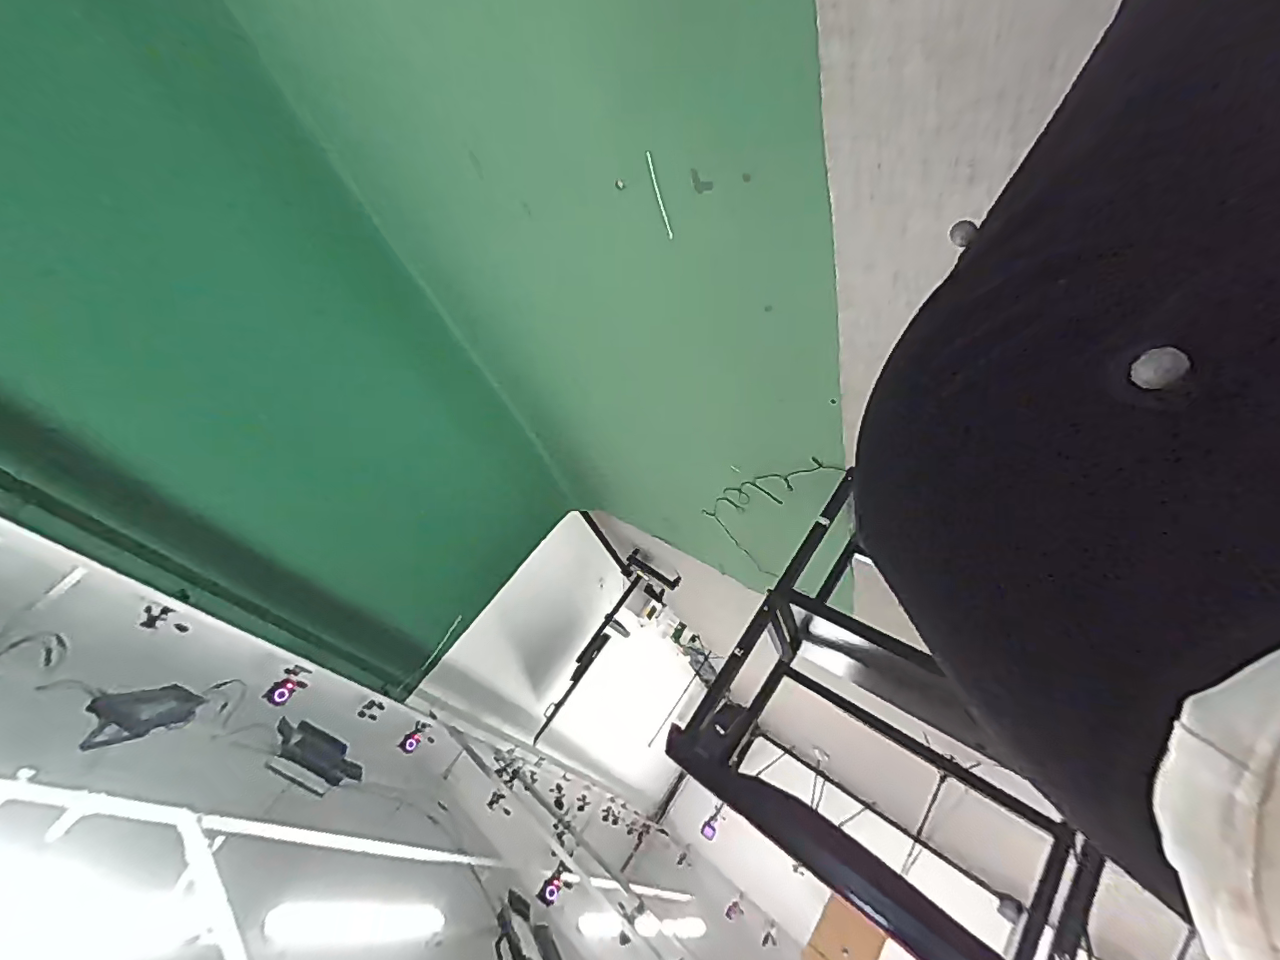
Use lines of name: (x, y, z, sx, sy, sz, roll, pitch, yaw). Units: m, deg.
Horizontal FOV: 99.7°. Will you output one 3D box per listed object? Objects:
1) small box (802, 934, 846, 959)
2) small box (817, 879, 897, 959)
small box: (0.564, 1.480, 1.592, 0.179, 0.176, 0.168, 24, 157, 35)
small box: (0.662, 1.359, 1.644, 0.179, 0.176, 0.168, 25, 157, 36)
